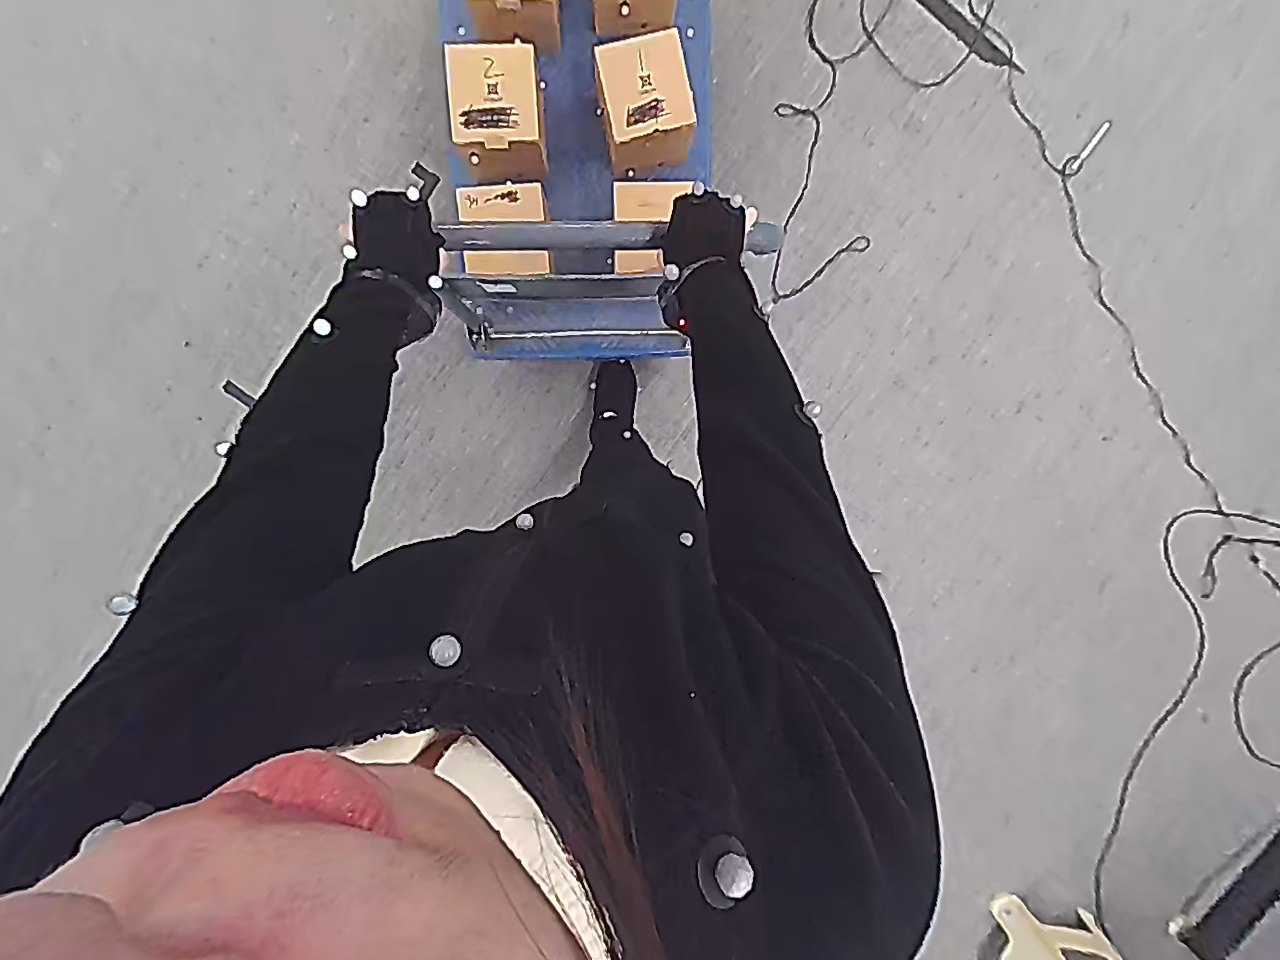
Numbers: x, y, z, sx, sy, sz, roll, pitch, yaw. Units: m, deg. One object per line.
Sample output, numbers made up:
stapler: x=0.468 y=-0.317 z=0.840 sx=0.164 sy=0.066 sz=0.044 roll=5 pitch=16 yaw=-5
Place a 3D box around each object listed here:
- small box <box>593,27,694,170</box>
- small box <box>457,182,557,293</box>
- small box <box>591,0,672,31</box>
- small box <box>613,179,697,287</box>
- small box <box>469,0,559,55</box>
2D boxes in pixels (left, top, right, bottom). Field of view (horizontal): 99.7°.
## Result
small box: x=0.005 y=-0.770 z=1.116 sx=0.168 sy=0.176 sz=0.179 roll=-14 pitch=97 yaw=-2
small box: x=-0.270 y=-0.498 z=1.135 sx=0.168 sy=0.176 sz=0.179 roll=-6 pitch=98 yaw=-4
small box: x=-0.020 y=-1.039 z=1.079 sx=0.168 sy=0.176 sz=0.179 roll=-5 pitch=98 yaw=-2
small box: x=0.027 y=-0.515 z=1.152 sx=0.168 sy=0.176 sz=0.179 roll=-2 pitch=97 yaw=-4
small box: x=-0.250 y=-0.993 z=1.070 sx=0.168 sy=0.176 sz=0.179 roll=0 pitch=98 yaw=-3
